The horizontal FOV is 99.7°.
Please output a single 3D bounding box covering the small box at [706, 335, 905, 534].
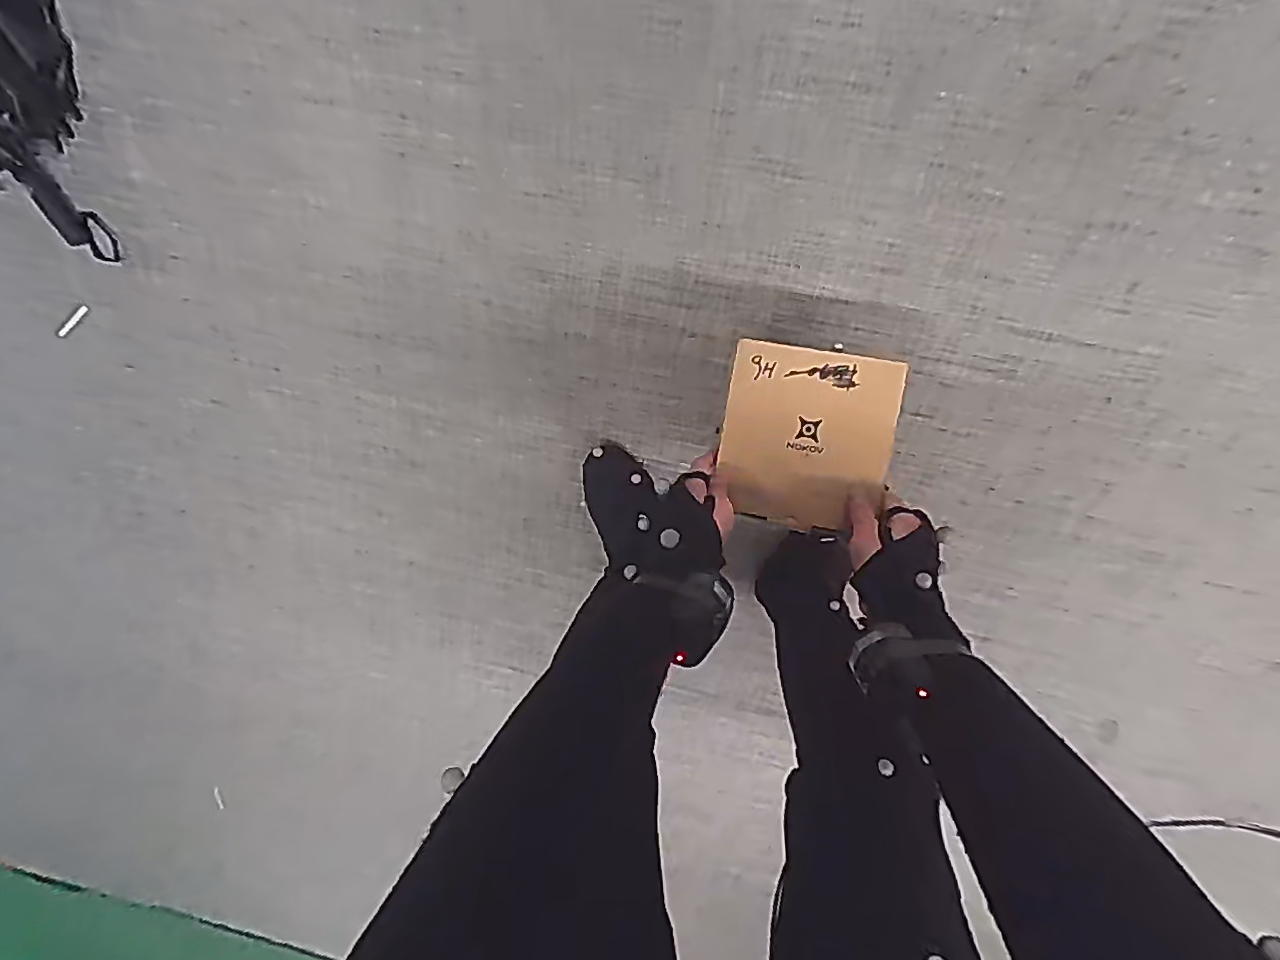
[{"bbox_3d":[0.172,-0.052,0.618,0.168,0.176,0.179,10,96,5],"label":"small box"}]
